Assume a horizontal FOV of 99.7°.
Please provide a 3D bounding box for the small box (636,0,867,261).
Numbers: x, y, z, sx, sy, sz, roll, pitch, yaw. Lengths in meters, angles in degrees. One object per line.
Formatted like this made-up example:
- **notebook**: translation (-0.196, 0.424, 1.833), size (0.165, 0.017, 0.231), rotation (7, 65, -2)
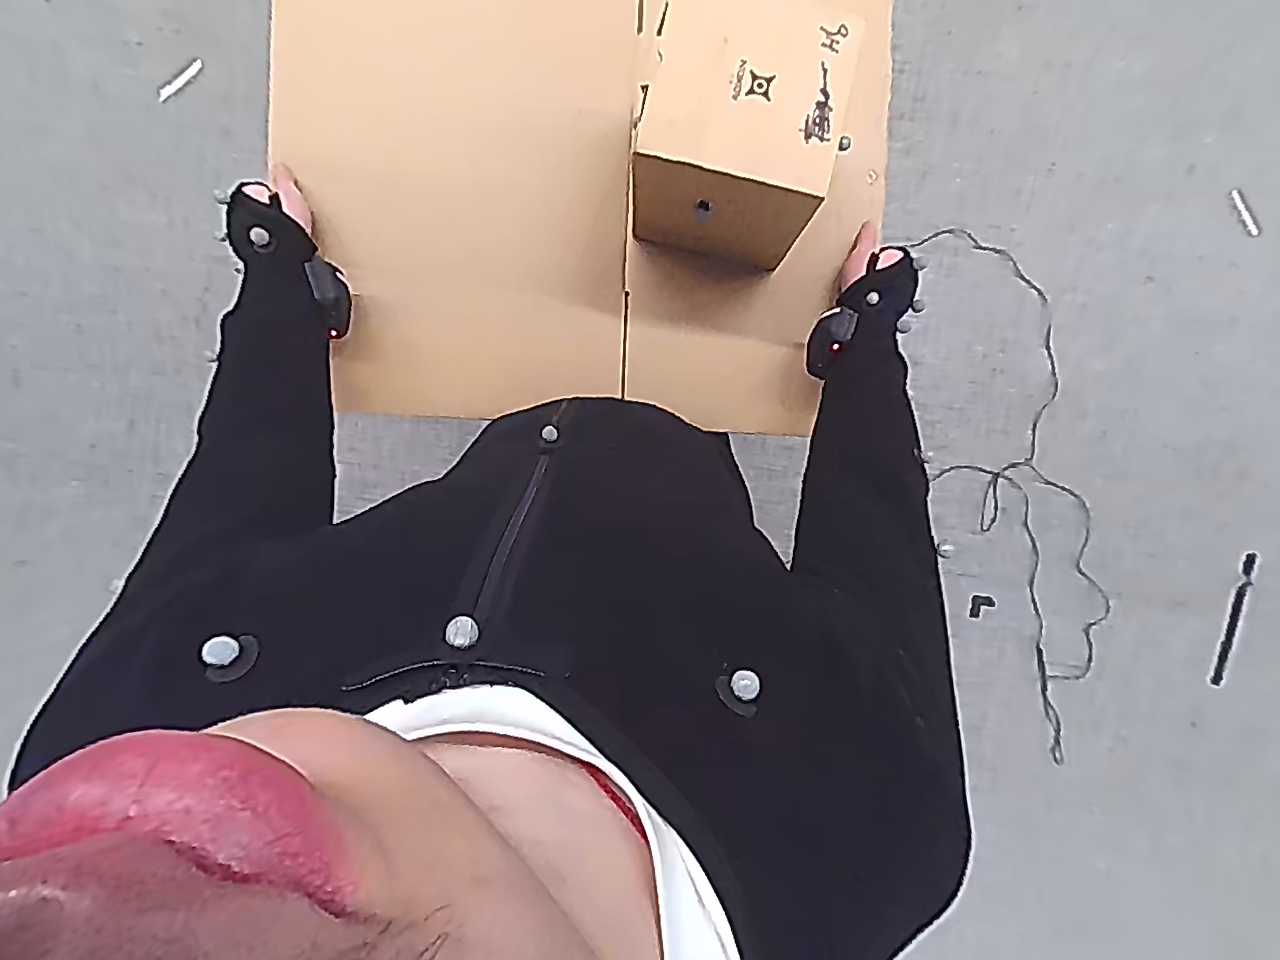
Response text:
- **small box**: translation (0.099, -0.348, 0.556), size (0.179, 0.176, 0.168), rotation (13, 91, 0)
